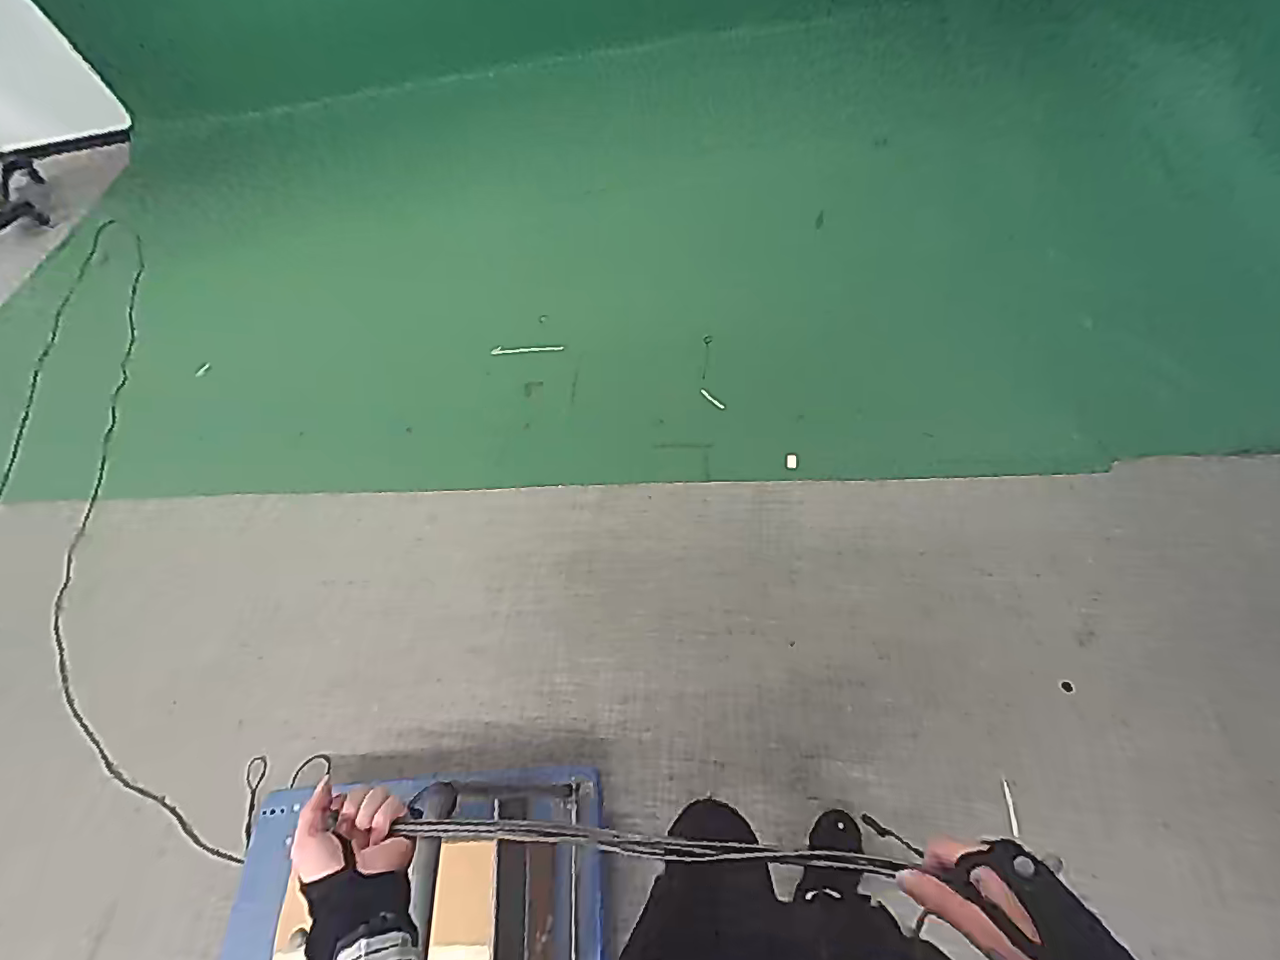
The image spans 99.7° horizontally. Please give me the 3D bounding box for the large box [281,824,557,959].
[{"bbox_3d":[-0.395,0.865,1.033,0.408,0.320,0.320,-9,59,8],"label":"large box"}]
